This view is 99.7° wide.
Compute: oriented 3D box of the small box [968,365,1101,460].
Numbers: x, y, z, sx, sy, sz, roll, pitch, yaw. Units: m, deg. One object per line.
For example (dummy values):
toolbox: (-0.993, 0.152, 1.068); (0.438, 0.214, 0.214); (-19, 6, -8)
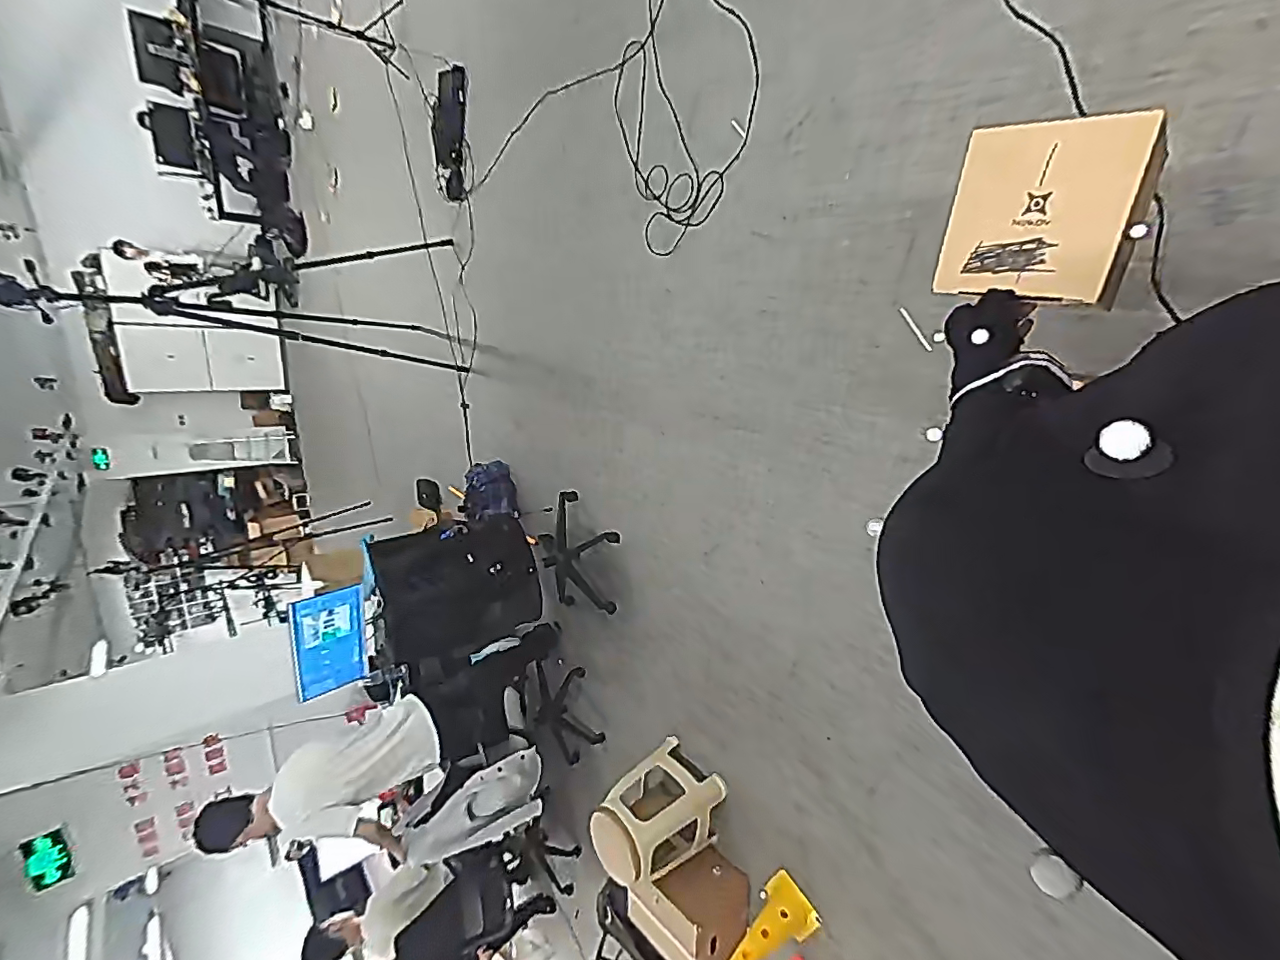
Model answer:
small box: (0.863, -0.156, 1.181); (0.179, 0.176, 0.168); (27, 118, 43)

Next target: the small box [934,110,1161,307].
small box: (0.483, -0.305, 0.643); (0.168, 0.176, 0.179); (22, 114, 39)
